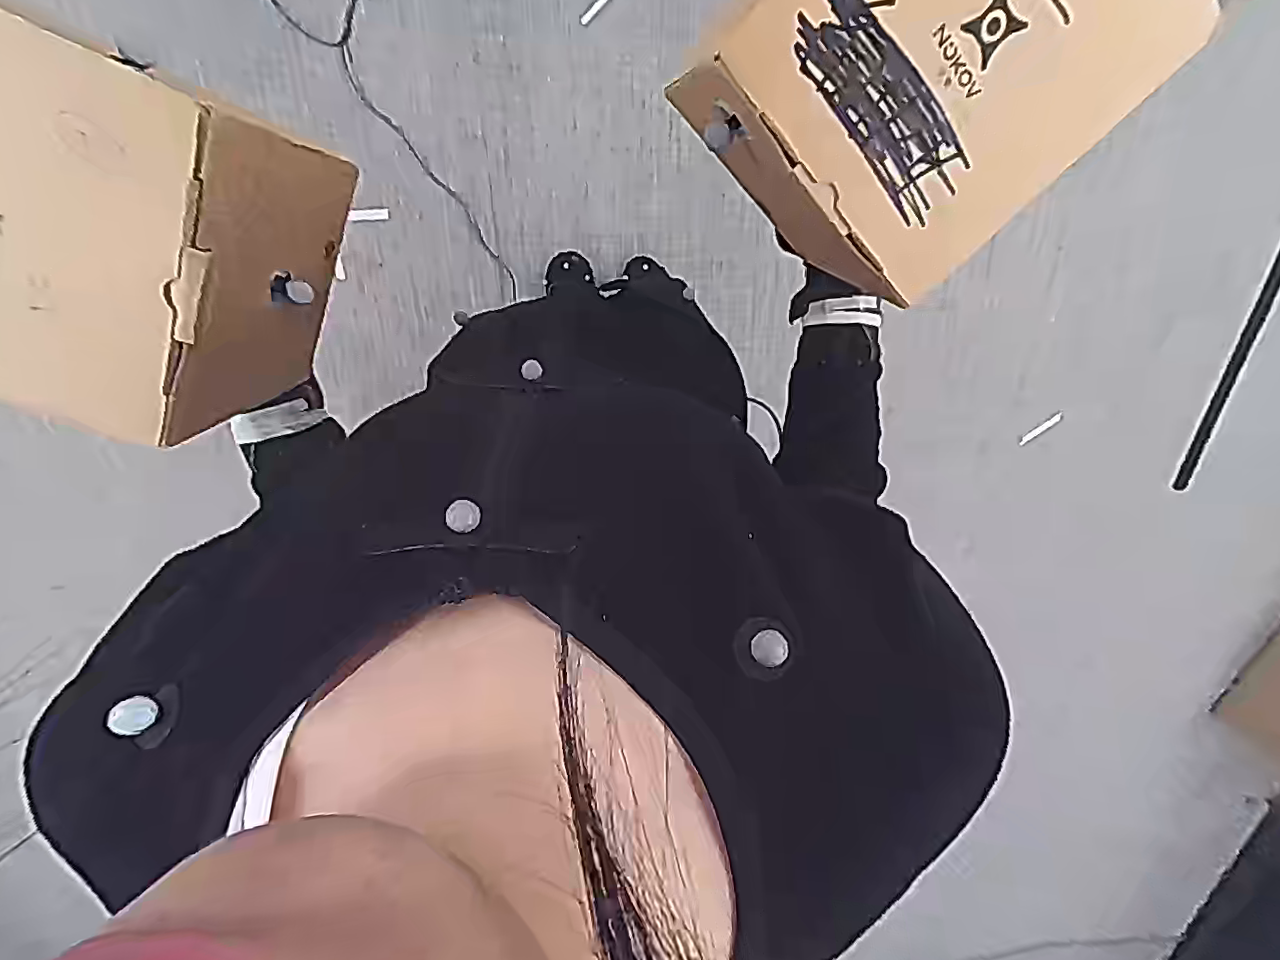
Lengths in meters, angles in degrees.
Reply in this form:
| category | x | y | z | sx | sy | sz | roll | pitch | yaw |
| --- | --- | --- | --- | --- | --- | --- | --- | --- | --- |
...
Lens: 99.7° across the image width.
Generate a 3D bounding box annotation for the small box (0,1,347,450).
| category | x | y | z | sx | sy | sz | roll | pitch | yaw |
| --- | --- | --- | --- | --- | --- | --- | --- | --- | --- |
| small box | -0.293 | -0.142 | 0.301 | 0.179 | 0.176 | 0.168 | 19 | 109 | -15 |
